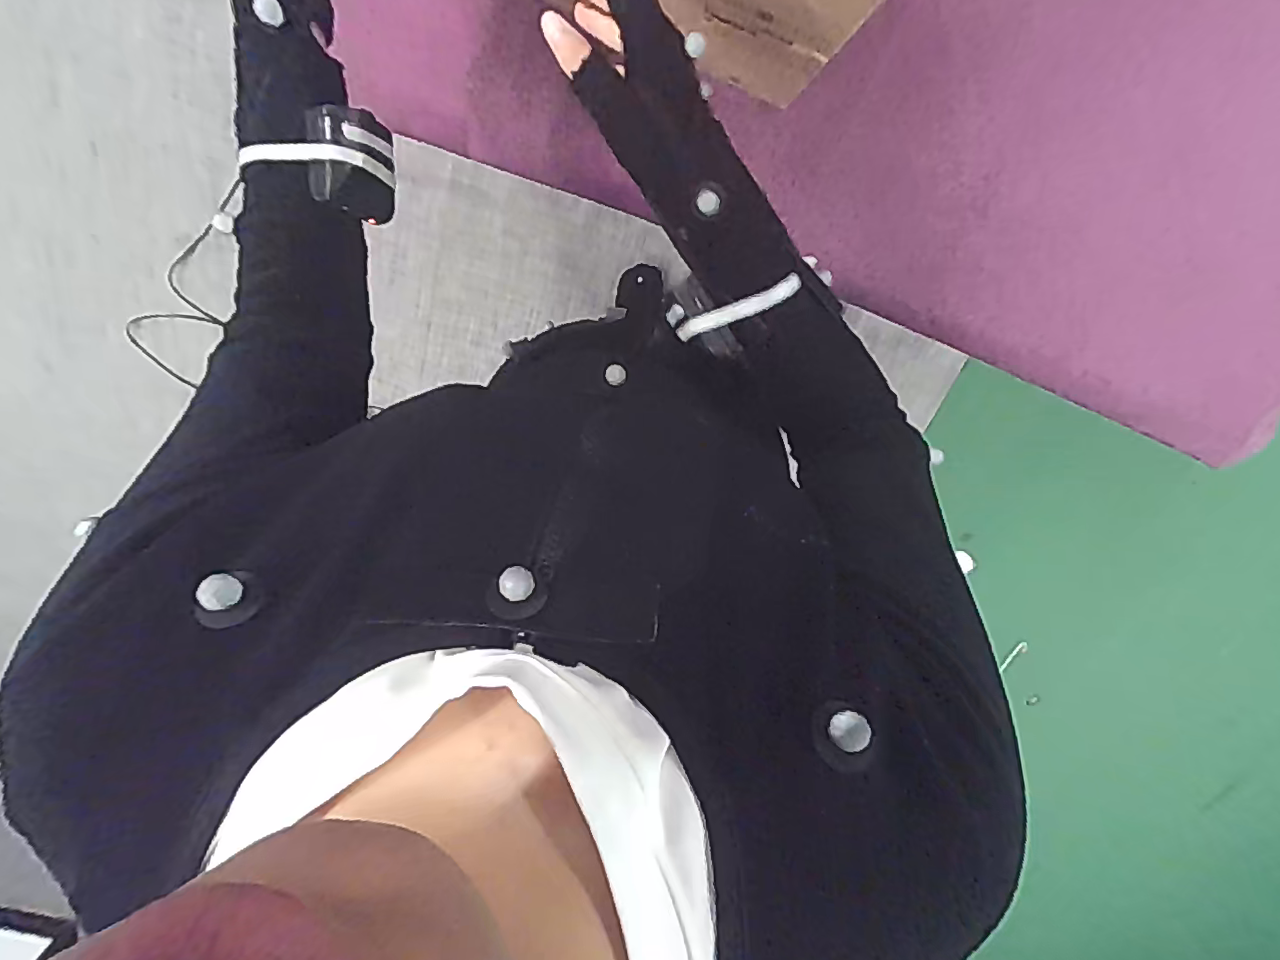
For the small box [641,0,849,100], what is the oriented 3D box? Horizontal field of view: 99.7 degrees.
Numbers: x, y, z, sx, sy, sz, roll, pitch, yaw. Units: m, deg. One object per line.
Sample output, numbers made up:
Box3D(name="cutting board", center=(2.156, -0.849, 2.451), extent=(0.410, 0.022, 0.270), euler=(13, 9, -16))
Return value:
Box3D(name="small box", center=(0.105, -0.462, 0.456), extent=(0.168, 0.176, 0.179), euler=(21, 112, -7))
